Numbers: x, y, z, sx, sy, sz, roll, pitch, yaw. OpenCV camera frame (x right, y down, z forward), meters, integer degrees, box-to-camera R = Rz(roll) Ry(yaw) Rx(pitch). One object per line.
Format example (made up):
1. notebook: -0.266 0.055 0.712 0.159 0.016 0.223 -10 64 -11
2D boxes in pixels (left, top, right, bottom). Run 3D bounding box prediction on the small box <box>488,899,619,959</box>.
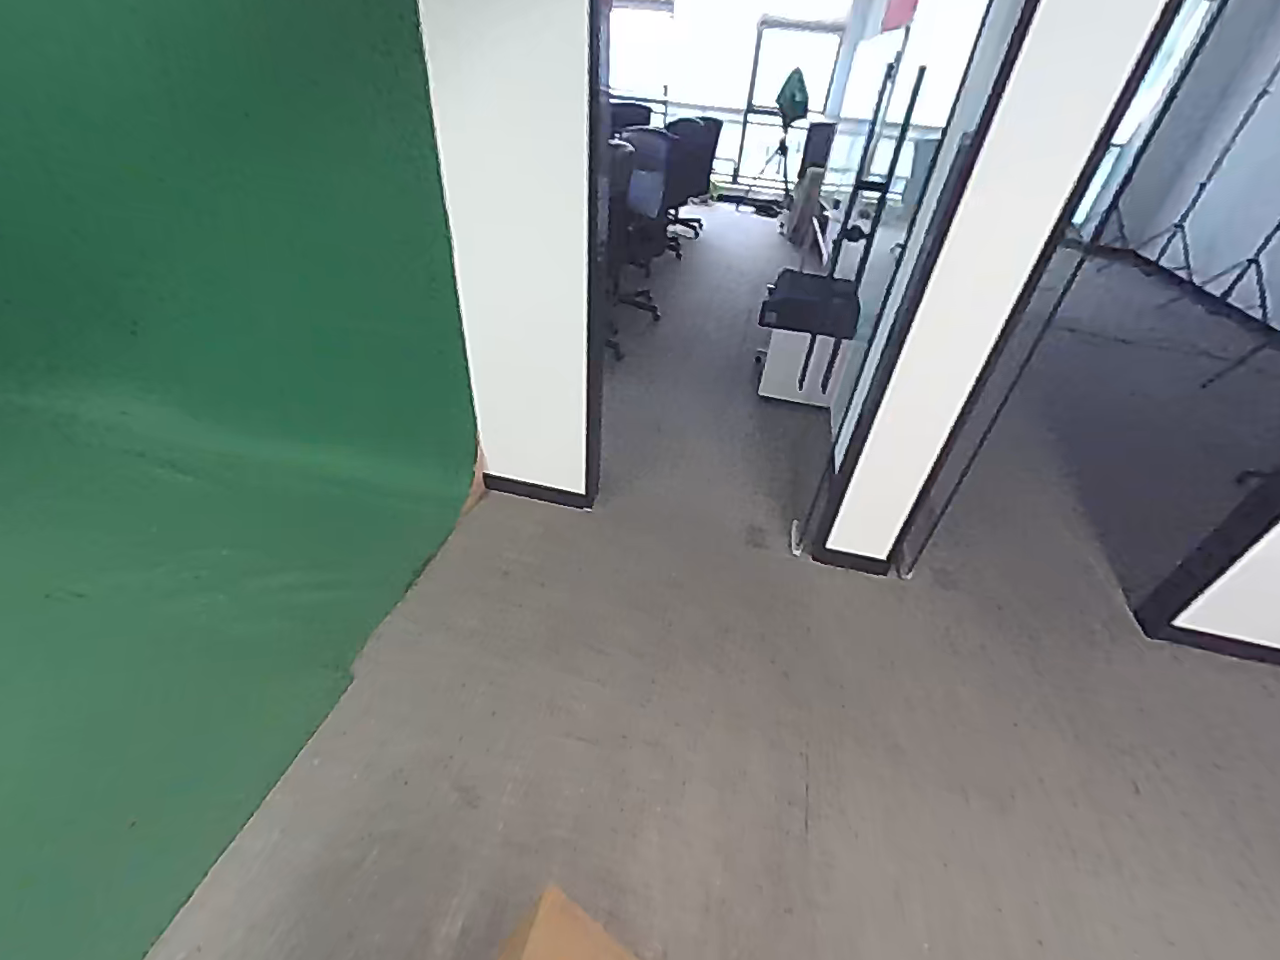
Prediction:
1. small box: -0.081 0.518 0.454 0.179 0.176 0.168 39 86 6
